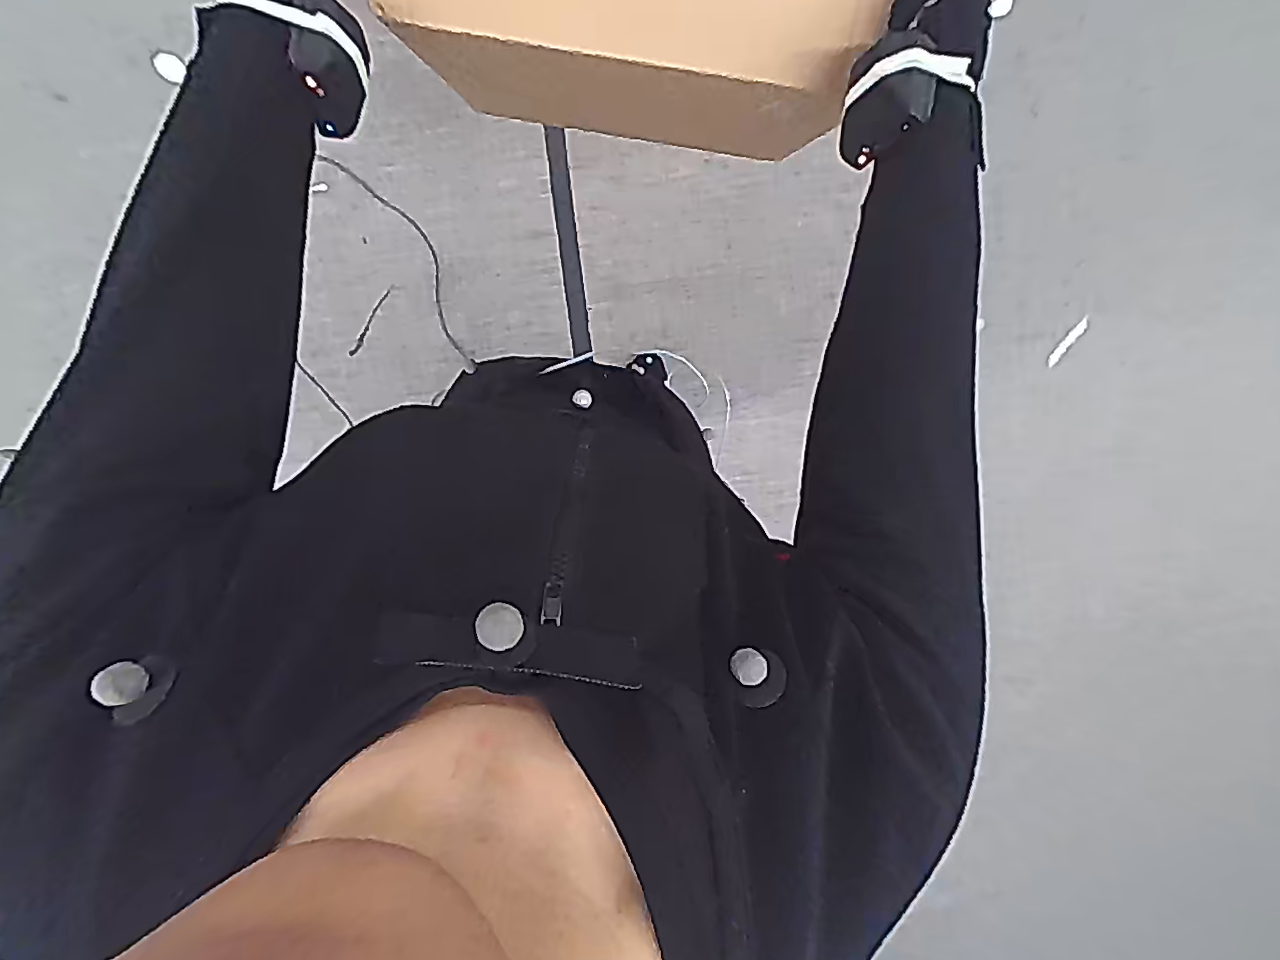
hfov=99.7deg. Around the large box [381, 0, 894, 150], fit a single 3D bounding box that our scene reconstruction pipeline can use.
[{"bbox_3d":[0.006,-0.537,0.510,0.408,0.320,0.320,6,113,-5],"label":"large box"}]
